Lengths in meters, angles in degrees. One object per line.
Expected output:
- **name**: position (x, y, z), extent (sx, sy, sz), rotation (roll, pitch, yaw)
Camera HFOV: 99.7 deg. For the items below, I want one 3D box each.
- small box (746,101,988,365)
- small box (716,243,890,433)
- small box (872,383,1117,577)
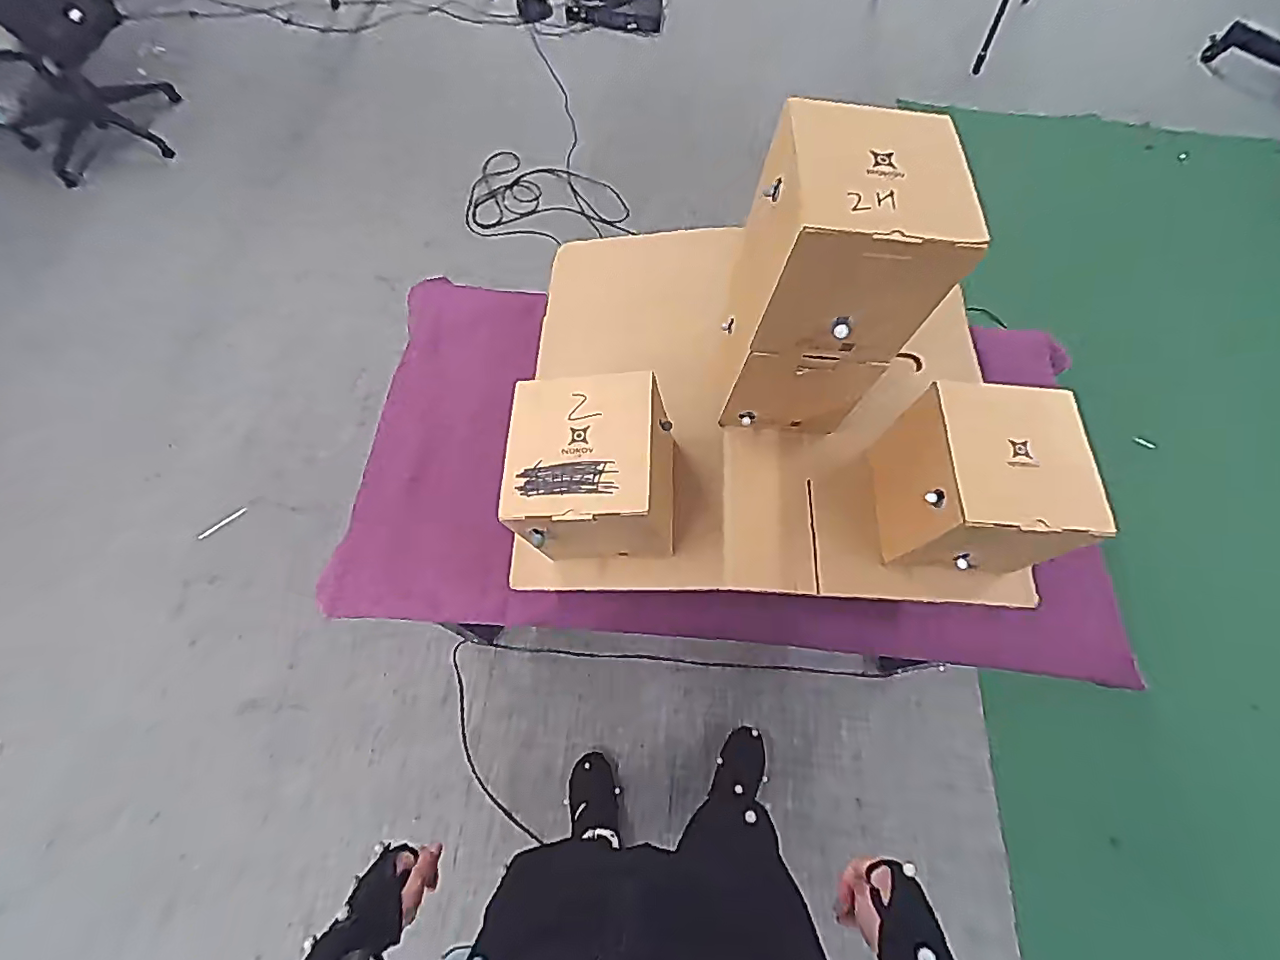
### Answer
- **small box**: position (0.212, -0.246, 0.562), extent (0.168, 0.176, 0.179), rotation (4, 66, -4)
- **small box**: position (0.198, -0.176, 0.710), extent (0.168, 0.176, 0.179), rotation (4, 65, -4)
- **small box**: position (0.400, 0.008, 0.650), extent (0.168, 0.176, 0.179), rotation (4, 67, -4)
